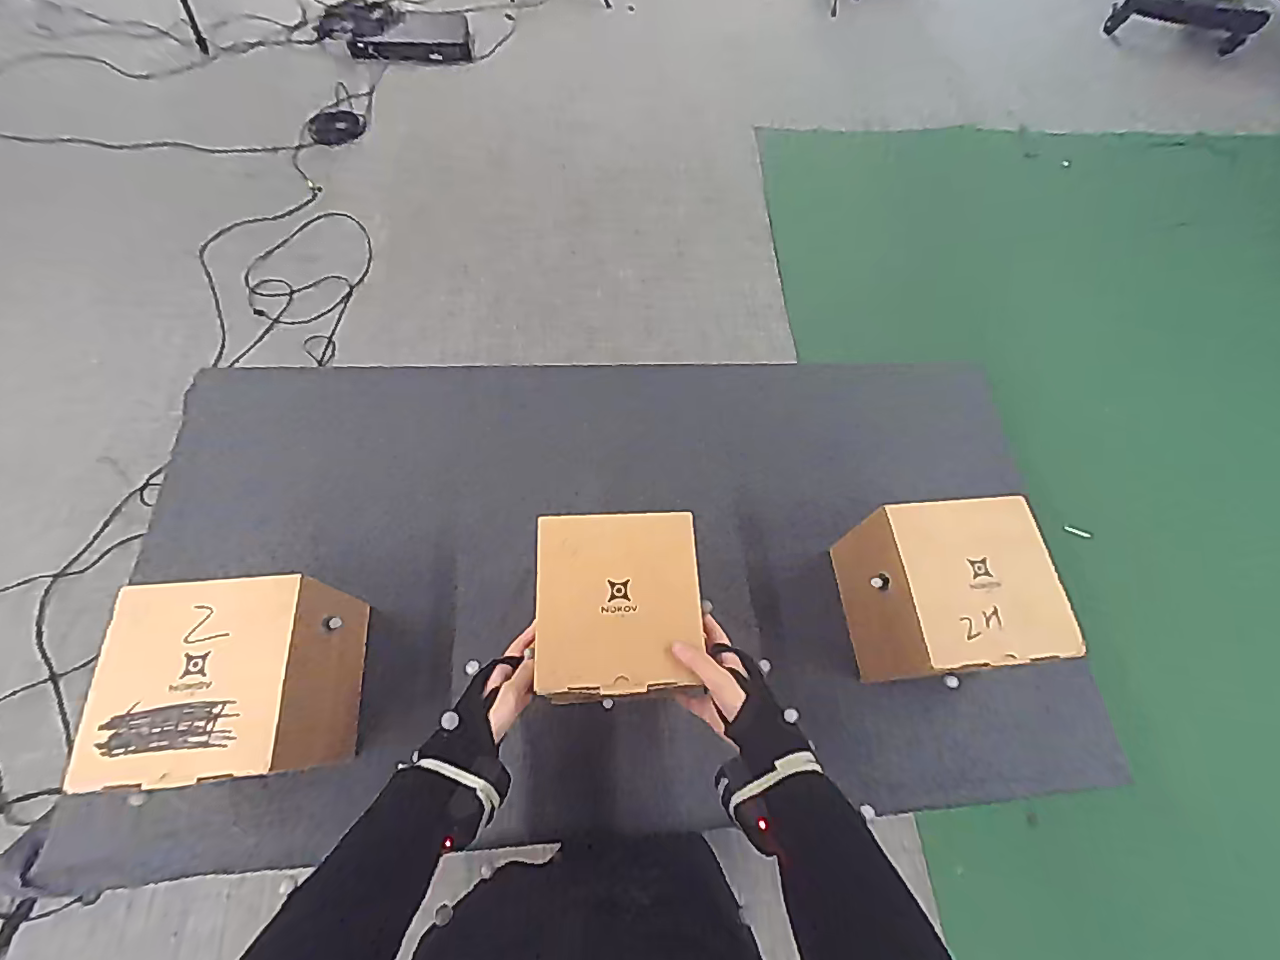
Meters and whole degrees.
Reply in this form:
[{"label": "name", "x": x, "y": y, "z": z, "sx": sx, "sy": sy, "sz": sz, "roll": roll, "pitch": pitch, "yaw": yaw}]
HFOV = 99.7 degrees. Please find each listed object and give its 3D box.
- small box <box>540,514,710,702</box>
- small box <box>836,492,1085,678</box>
[{"label": "small box", "x": -0.023, "y": 0.152, "z": 0.618, "sx": 0.168, "sy": 0.176, "sz": 0.179, "roll": -3, "pitch": 66, "yaw": -4}, {"label": "small box", "x": 0.353, "y": 0.130, "z": 0.640, "sx": 0.168, "sy": 0.176, "sz": 0.179, "roll": -5, "pitch": 66, "yaw": -3}]
